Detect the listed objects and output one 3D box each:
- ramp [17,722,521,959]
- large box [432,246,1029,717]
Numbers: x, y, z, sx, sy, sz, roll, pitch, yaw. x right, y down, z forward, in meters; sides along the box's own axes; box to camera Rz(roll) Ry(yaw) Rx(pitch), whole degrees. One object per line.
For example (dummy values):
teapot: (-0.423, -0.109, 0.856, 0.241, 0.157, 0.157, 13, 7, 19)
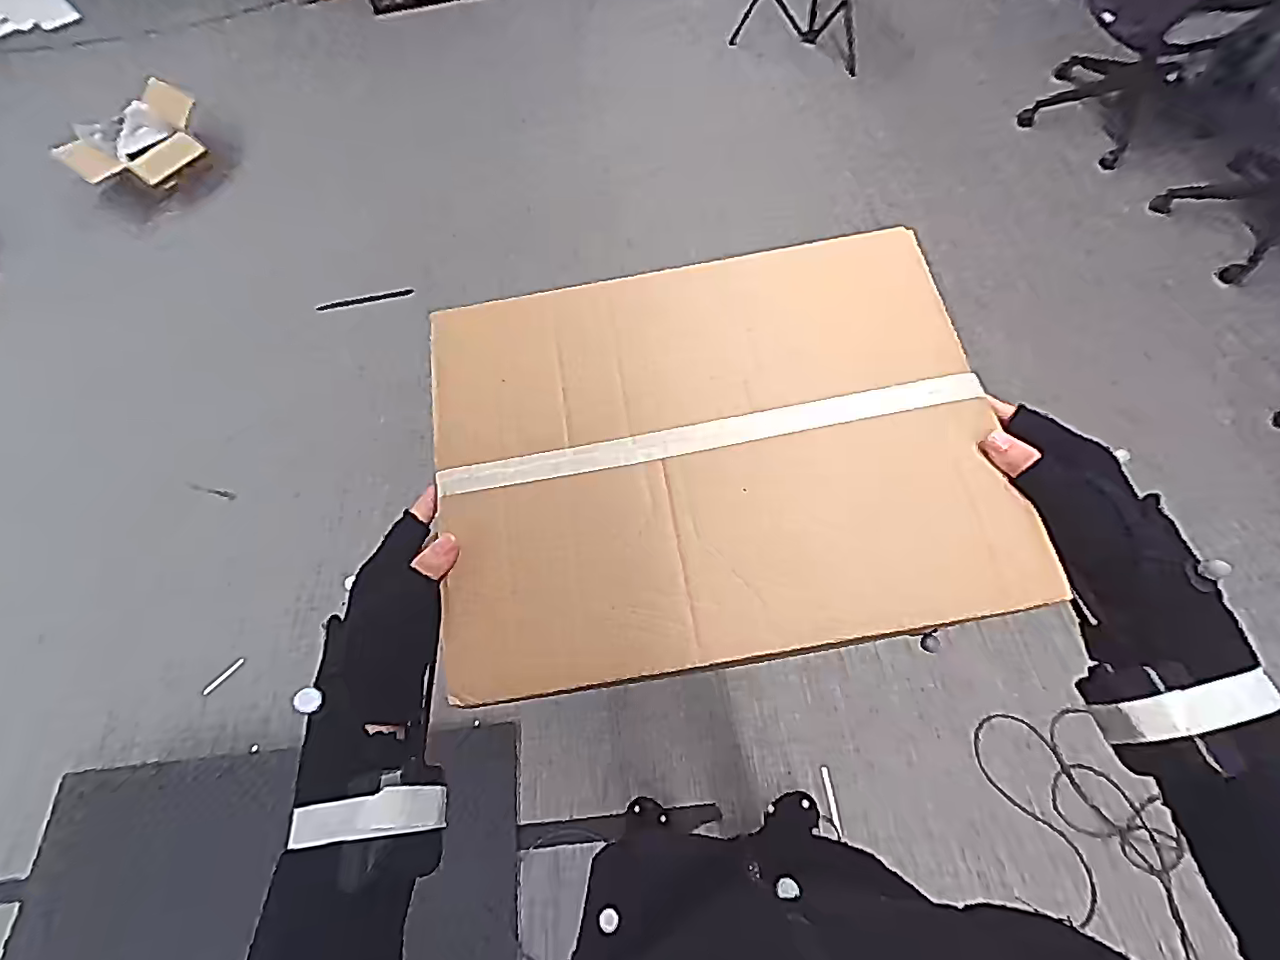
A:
ramp: (-0.772, 0.852, 1.197, 0.991, 0.206, 0.509, -10, 61, 1)
large box: (0.055, 0.027, 0.553, 0.408, 0.320, 0.320, -11, 69, 1)
